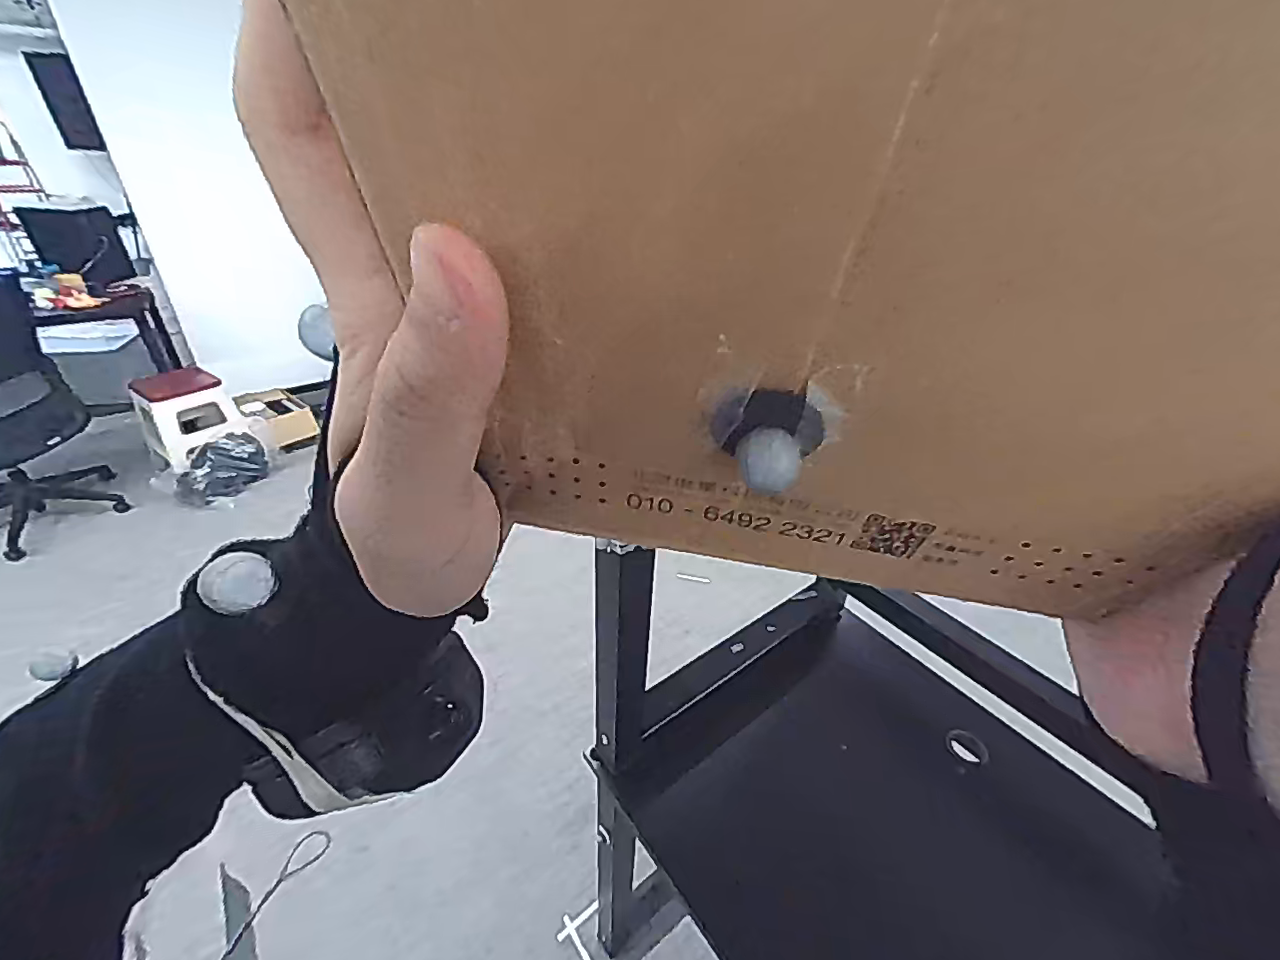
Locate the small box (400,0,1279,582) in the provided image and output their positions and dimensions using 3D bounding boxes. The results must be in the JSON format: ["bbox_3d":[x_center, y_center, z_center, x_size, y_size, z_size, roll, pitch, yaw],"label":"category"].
[{"bbox_3d":[0.056,-0.100,0.124,0.168,0.176,0.179,9,56,4],"label":"small box"}]
